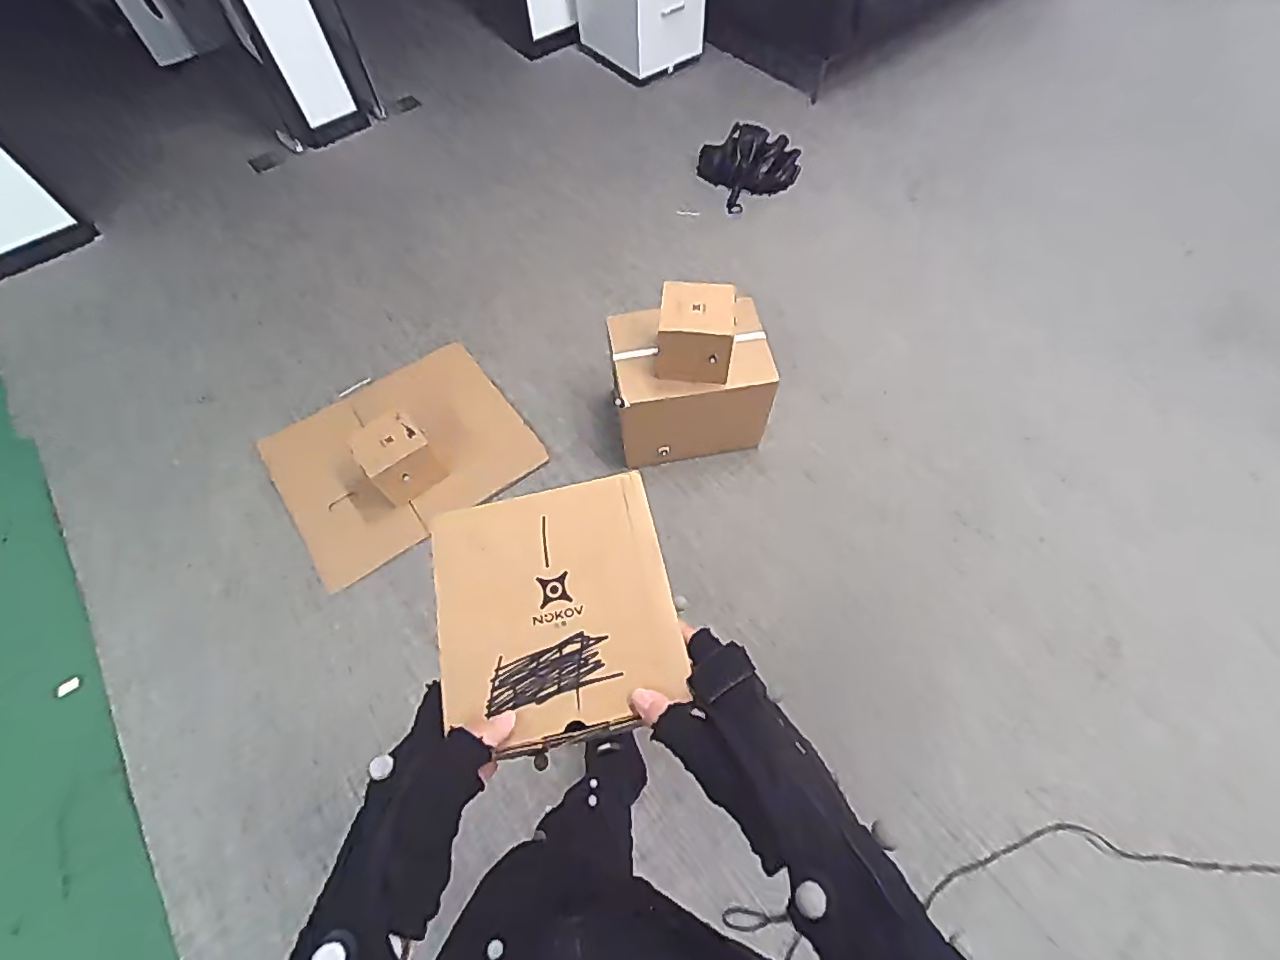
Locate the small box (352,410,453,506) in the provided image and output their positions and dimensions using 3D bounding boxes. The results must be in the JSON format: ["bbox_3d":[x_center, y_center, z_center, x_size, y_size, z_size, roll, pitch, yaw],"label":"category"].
[{"bbox_3d":[-0.667,-0.057,1.535,0.179,0.176,0.168,-39,64,-17],"label":"small box"}]

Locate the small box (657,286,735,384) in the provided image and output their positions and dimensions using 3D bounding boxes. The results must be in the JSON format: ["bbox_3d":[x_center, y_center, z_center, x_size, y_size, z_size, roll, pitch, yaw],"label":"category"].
[{"bbox_3d":[0.137,-0.352,1.330,0.179,0.176,0.168,3,60,5],"label":"small box"}]

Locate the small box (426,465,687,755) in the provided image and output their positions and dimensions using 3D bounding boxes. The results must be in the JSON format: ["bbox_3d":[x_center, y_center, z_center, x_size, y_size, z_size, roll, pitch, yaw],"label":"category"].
[{"bbox_3d":[-0.062,0.115,0.465,0.168,0.176,0.179,-16,66,-5],"label":"small box"}]
